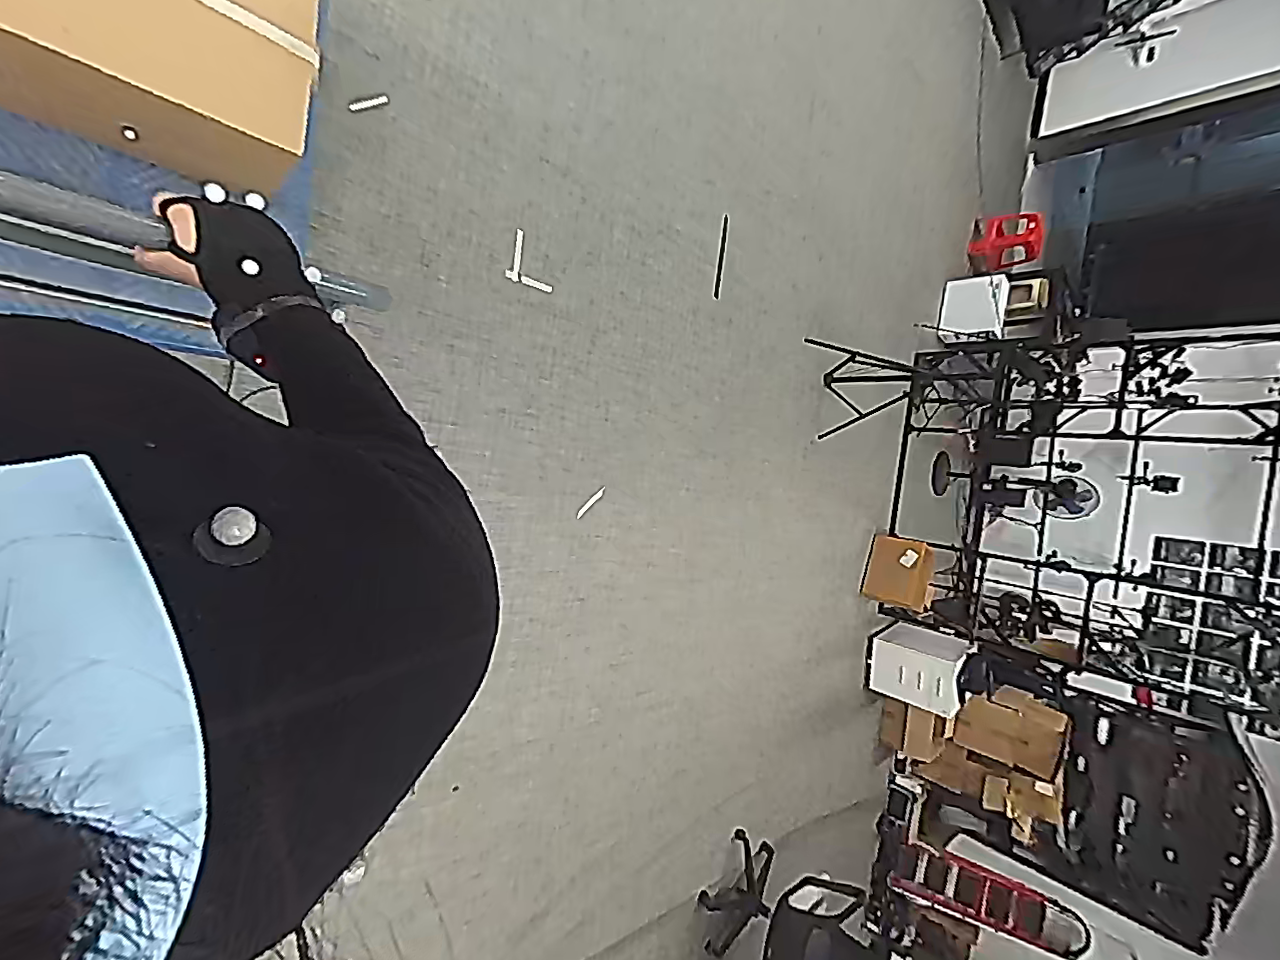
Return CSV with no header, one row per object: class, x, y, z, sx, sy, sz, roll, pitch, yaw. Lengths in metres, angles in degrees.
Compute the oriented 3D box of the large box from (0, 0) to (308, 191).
large box,-0.783,-0.716,0.836,0.408,0.320,0.320,5,92,-45
